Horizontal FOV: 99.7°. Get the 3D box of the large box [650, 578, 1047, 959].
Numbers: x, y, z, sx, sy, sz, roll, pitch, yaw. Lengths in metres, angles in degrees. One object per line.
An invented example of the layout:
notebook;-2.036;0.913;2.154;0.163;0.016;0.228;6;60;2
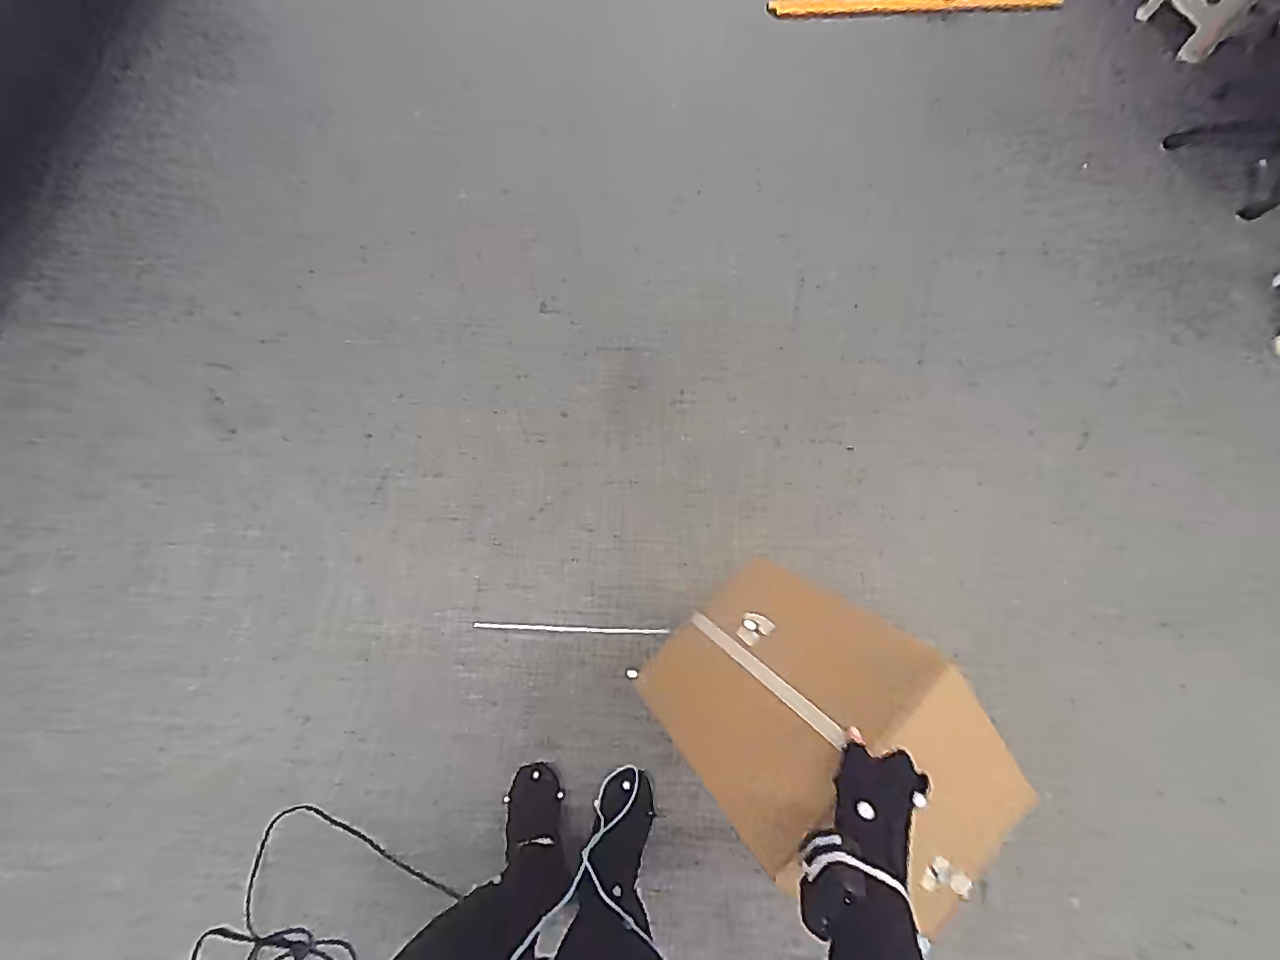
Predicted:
large box;0.284;0.416;0.824;0.320;0.408;0.320;-41;110;-10
